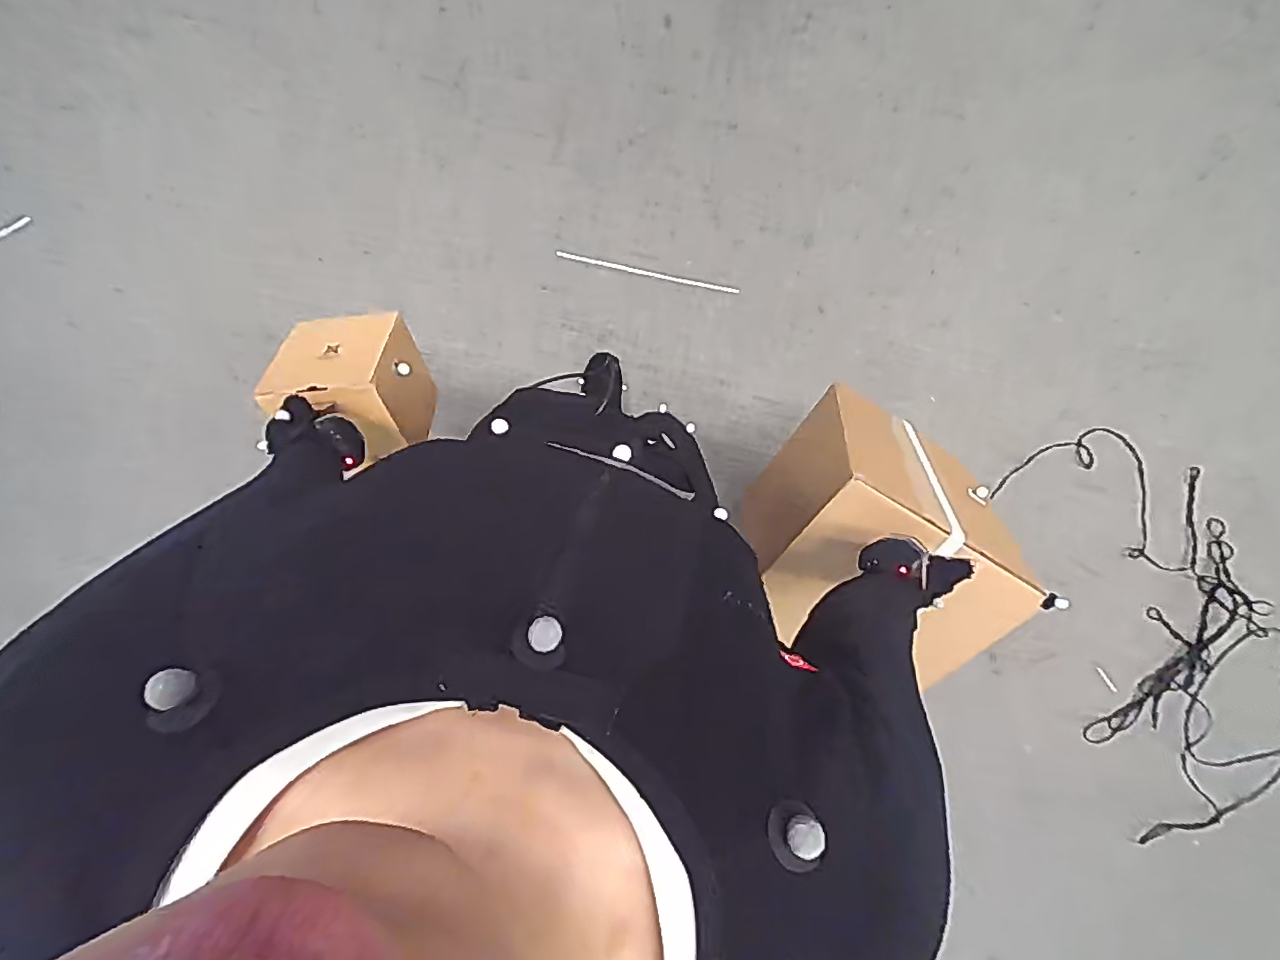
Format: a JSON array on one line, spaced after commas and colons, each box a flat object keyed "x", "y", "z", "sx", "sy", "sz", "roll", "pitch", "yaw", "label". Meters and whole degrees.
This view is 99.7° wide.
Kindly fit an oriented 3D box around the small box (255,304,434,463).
[{"x": -0.441, "y": -0.149, "z": 0.846, "sx": 0.168, "sy": 0.179, "sz": 0.176, "roll": -6, "pitch": 141, "yaw": 2, "label": "small box"}]
